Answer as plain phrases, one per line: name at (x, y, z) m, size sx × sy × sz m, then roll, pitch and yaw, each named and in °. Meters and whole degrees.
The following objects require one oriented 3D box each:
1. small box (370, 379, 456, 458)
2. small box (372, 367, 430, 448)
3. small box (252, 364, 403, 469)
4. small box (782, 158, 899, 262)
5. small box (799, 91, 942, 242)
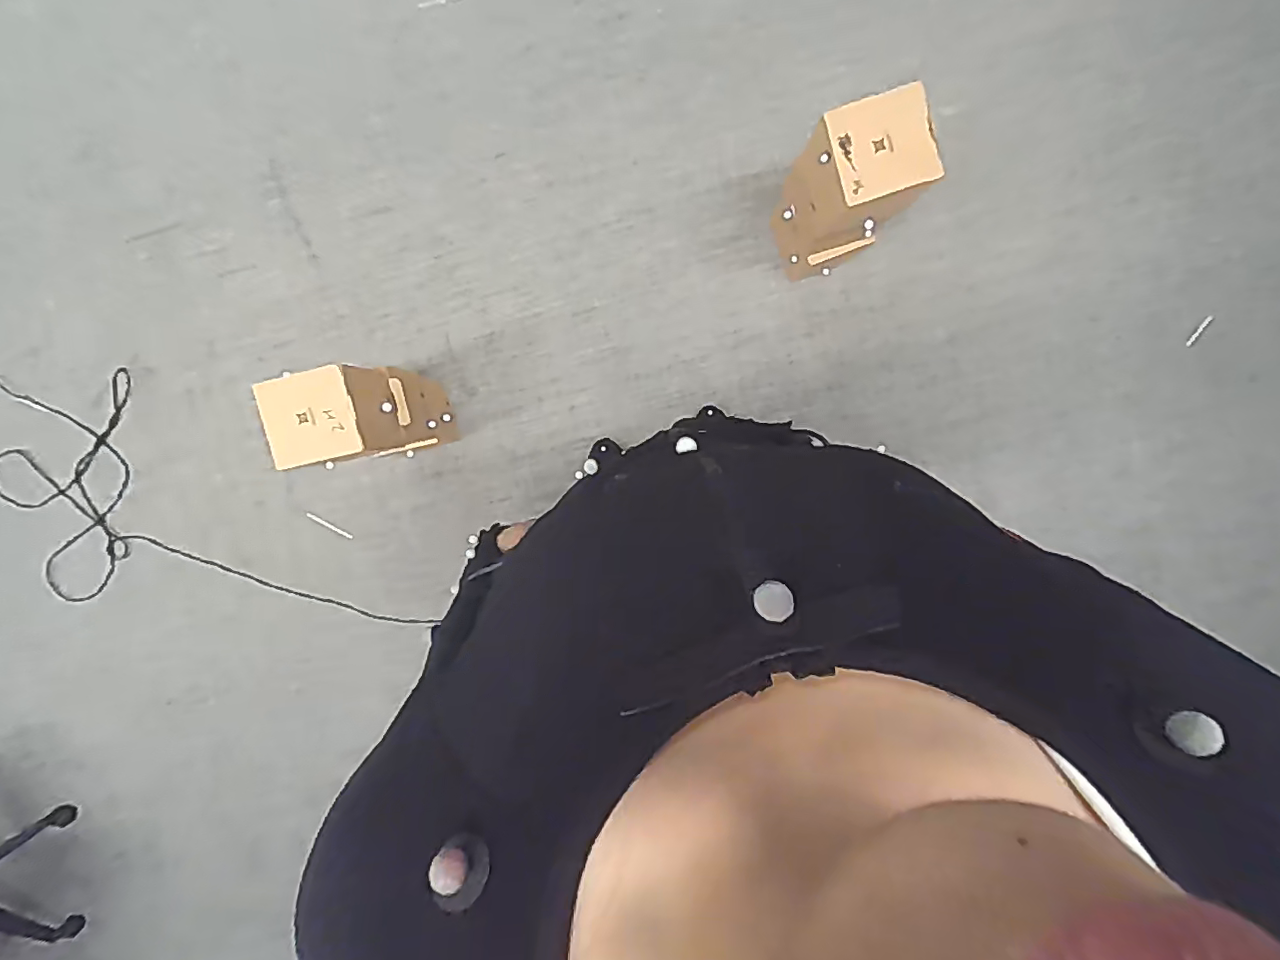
small box at (-0.593, -0.159, 1.394) m, size 0.179 × 0.176 × 0.168 m, roll -13°, pitch 95°, yaw 3°
small box at (-0.599, -0.153, 1.230) m, size 0.179 × 0.176 × 0.168 m, roll -12°, pitch 95°, yaw 4°
small box at (-0.605, -0.122, 1.067) m, size 0.179 × 0.176 × 0.168 m, roll -12°, pitch 96°, yaw 3°
small box at (0.430, -0.601, 1.179) m, size 0.179 × 0.176 × 0.168 m, roll -16°, pitch 95°, yaw 3°
small box at (0.424, -0.576, 1.017) m, size 0.179 × 0.176 × 0.168 m, roll -17°, pitch 95°, yaw 2°
